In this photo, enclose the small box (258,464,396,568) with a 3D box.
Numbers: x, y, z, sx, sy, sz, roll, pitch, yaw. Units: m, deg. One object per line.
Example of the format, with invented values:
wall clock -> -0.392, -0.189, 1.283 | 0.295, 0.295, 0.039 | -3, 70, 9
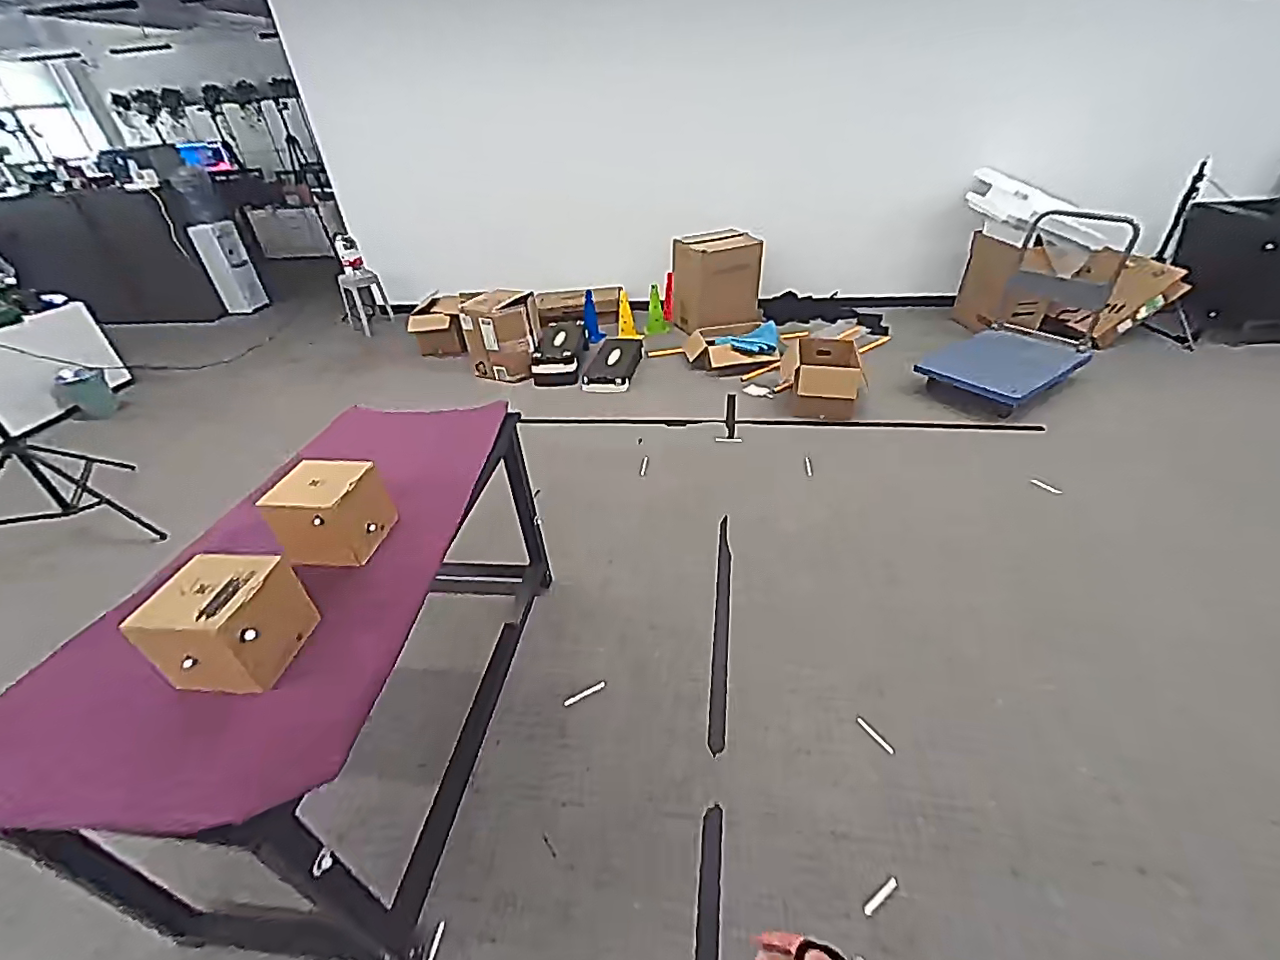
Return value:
small box -> -0.678, 0.080, 1.194 | 0.179, 0.176, 0.168 | 1, 36, 7
